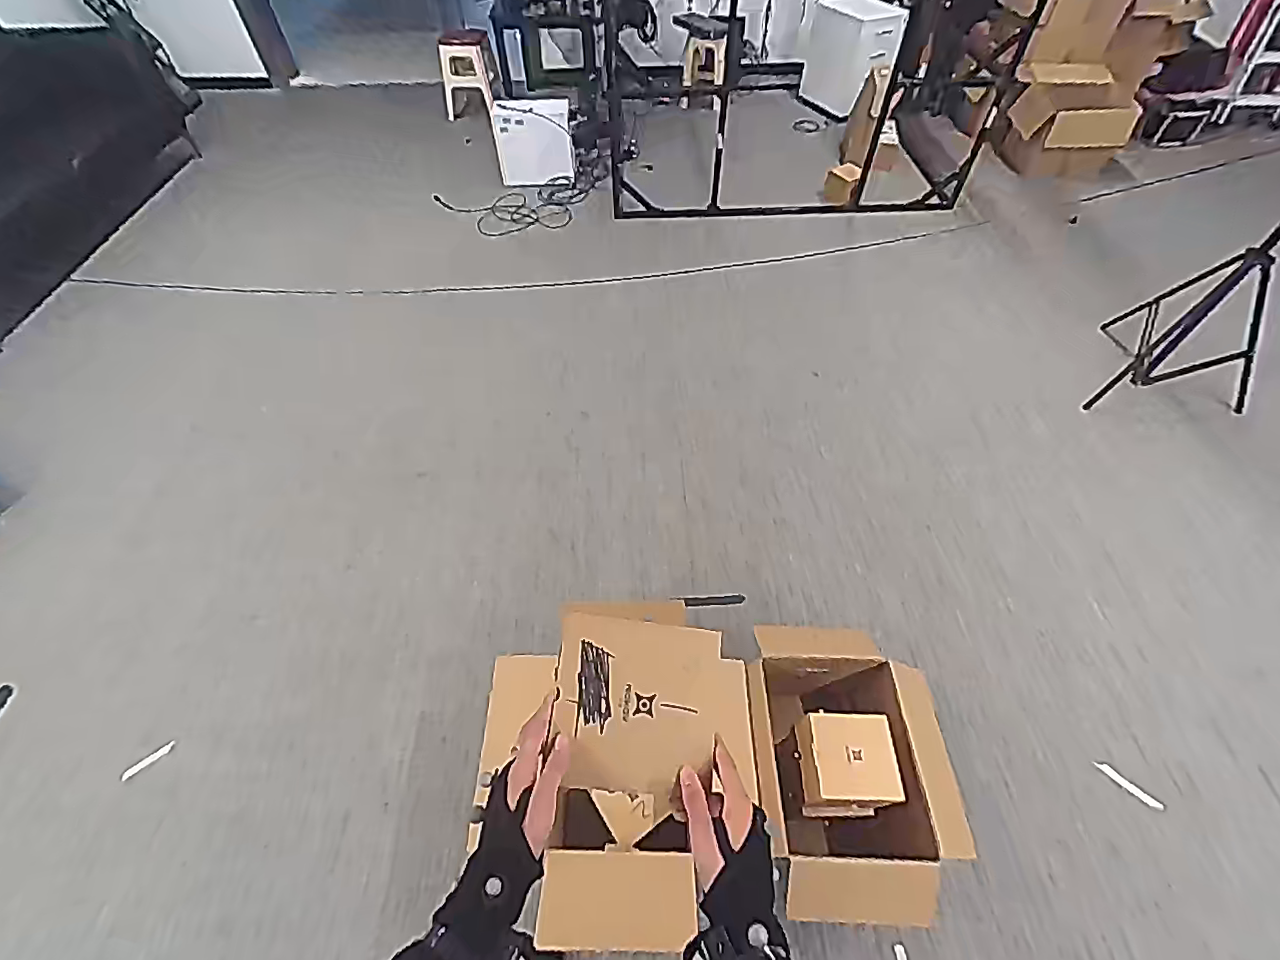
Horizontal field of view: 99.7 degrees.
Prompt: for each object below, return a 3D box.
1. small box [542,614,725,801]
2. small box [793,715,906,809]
[{"bbox_3d":[-0.006,0.260,0.641,0.179,0.176,0.168,8,71,-1],"label":"small box"},{"bbox_3d":[0.455,0.631,1.205,0.179,0.176,0.168,1,55,1],"label":"small box"}]
